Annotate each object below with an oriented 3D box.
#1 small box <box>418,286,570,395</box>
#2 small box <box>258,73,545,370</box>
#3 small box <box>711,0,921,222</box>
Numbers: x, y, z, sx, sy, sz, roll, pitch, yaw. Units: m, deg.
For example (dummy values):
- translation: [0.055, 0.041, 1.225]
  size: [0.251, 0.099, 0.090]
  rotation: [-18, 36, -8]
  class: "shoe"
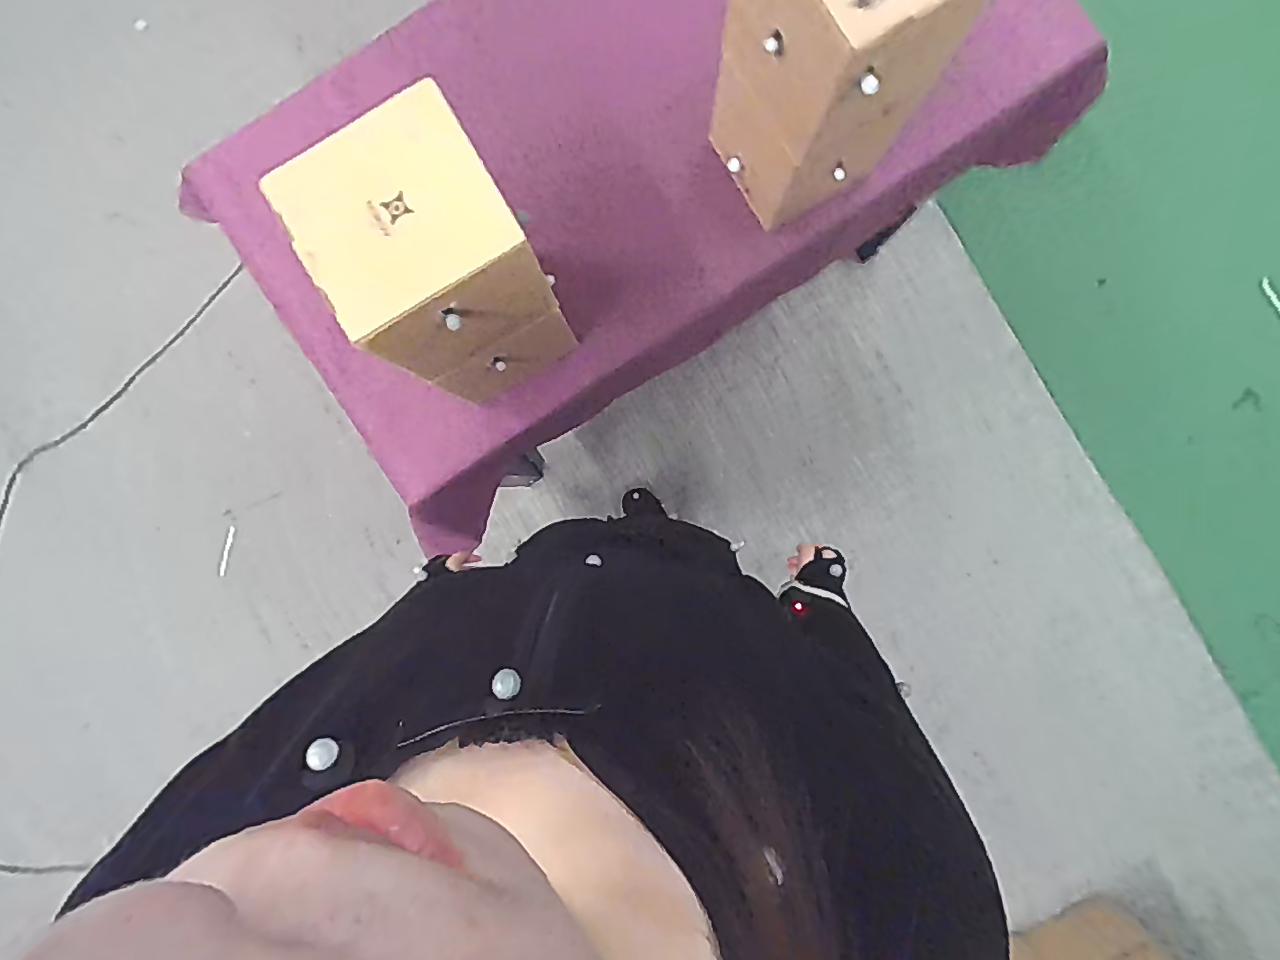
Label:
- translation: [-0.210, -0.228, 0.700]
  size: [0.179, 0.176, 0.168]
  rotation: [-30, 89, 0]
  class: "small box"
- translation: [-0.210, -0.233, 0.537]
  size: [0.179, 0.176, 0.168]
  rotation: [-31, 89, 2]
  class: "small box"
- translation: [0.209, -0.476, 0.695]
  size: [0.179, 0.176, 0.168]
  rotation: [-31, 89, 2]
  class: "small box"
